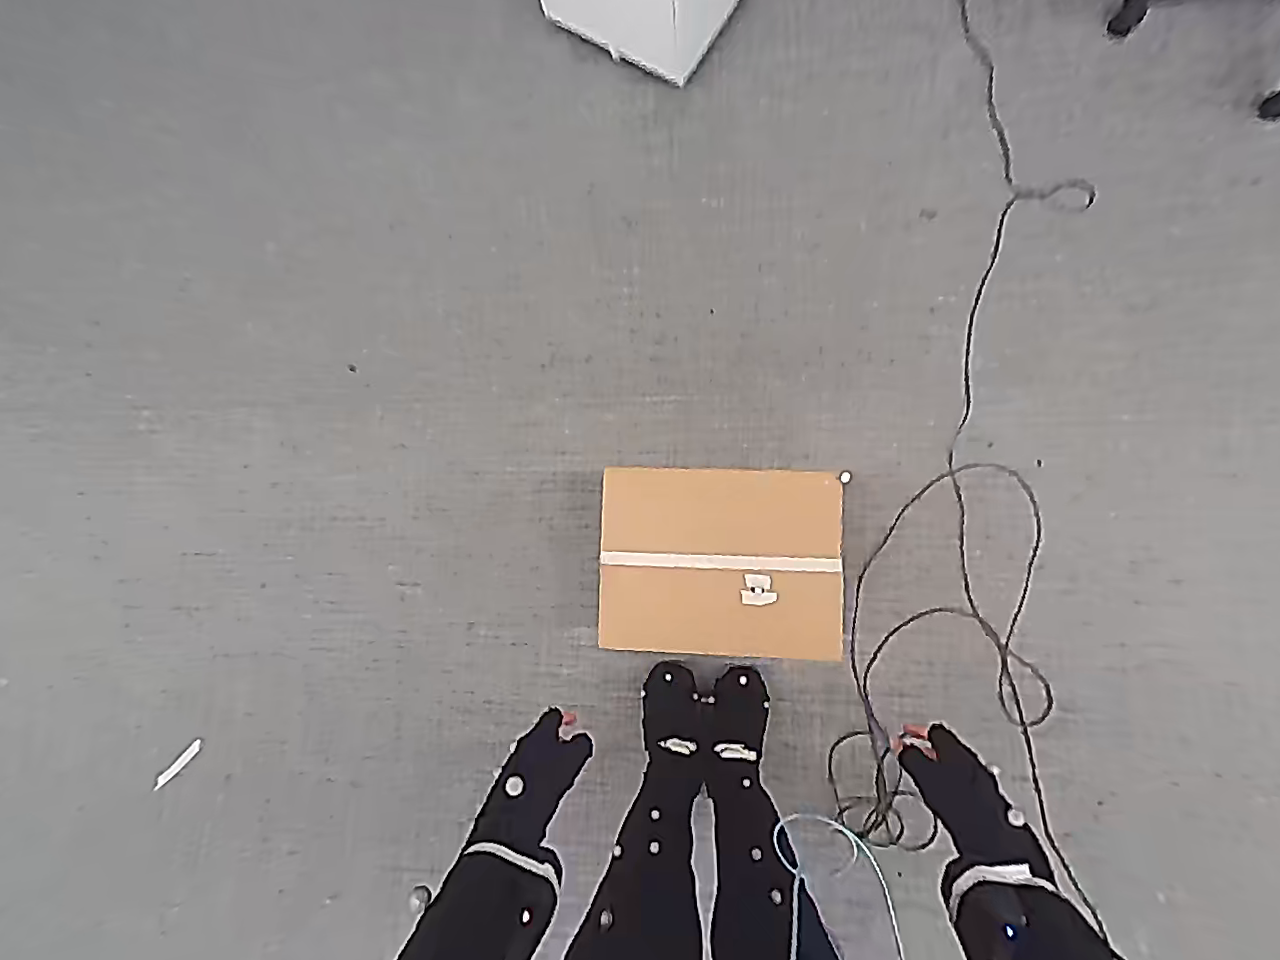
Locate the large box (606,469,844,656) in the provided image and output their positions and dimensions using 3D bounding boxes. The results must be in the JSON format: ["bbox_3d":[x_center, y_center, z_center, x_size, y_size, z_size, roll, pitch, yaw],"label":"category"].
[{"bbox_3d":[0.153,0.151,1.067,0.408,0.320,0.320,1,86,6],"label":"large box"}]
